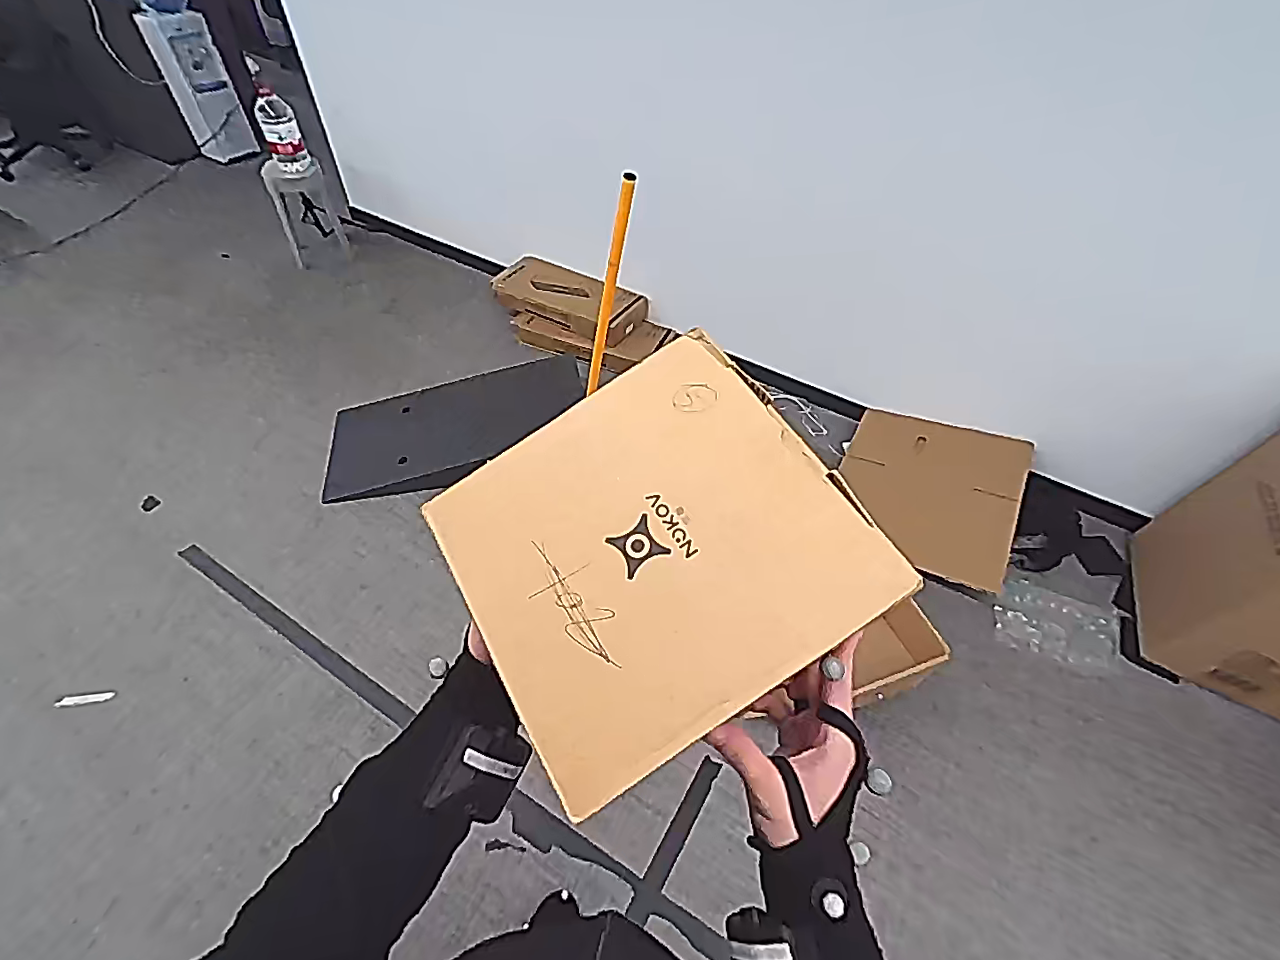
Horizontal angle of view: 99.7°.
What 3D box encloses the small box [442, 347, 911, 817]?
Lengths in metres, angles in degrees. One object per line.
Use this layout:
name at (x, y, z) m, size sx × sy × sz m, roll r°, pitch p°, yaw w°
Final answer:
small box at (0.021, 0.061, 0.335) m, size 0.179 × 0.176 × 0.168 m, roll -35°, pitch 67°, yaw -2°
